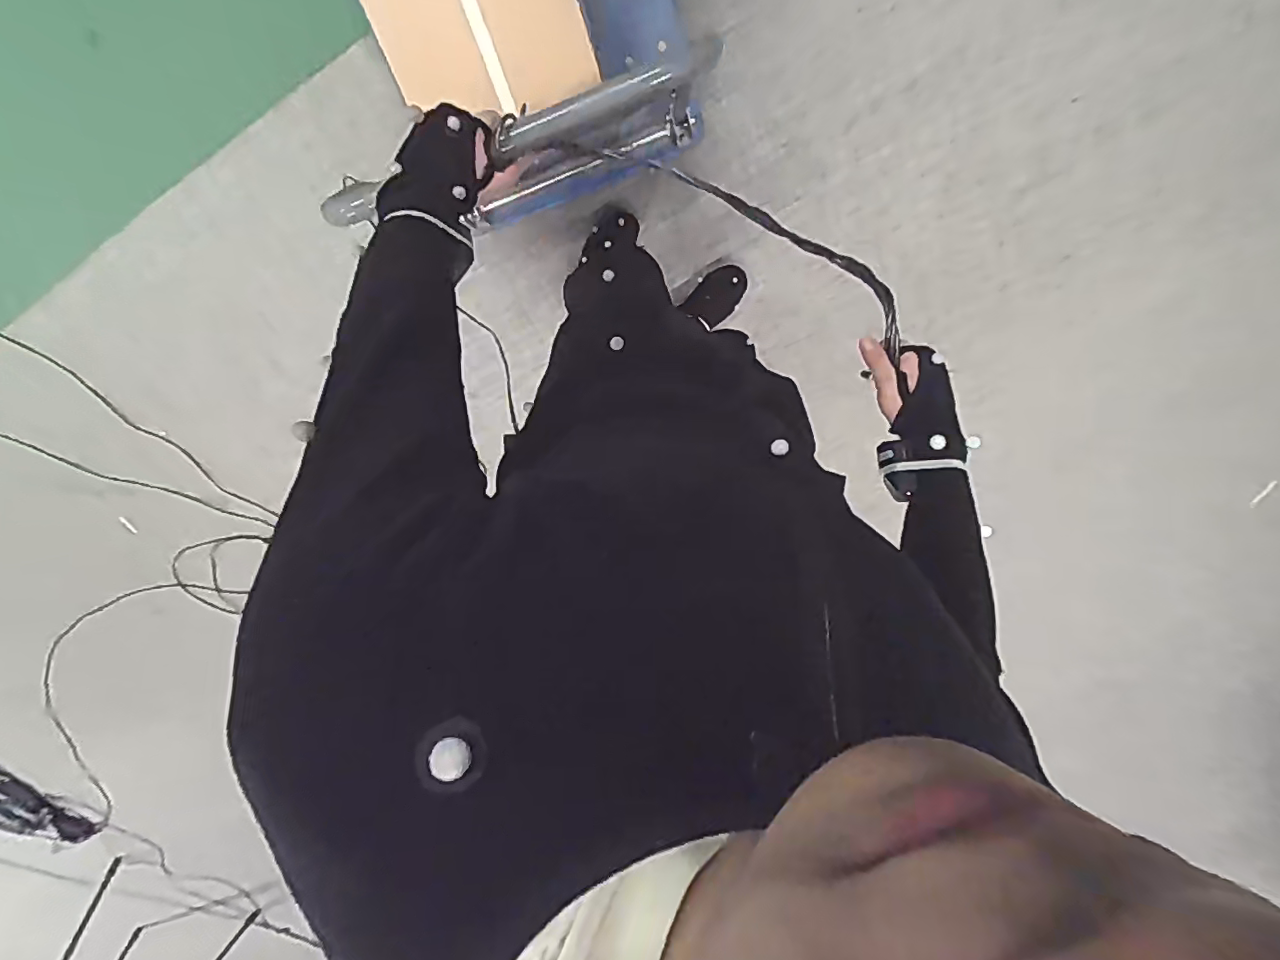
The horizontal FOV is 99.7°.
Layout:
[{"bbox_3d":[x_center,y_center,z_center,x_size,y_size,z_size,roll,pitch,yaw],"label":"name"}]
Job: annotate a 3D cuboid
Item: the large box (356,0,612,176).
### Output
[{"bbox_3d":[-0.266,-0.799,0.938,0.320,0.320,0.408,-16,117,9],"label":"large box"}]
